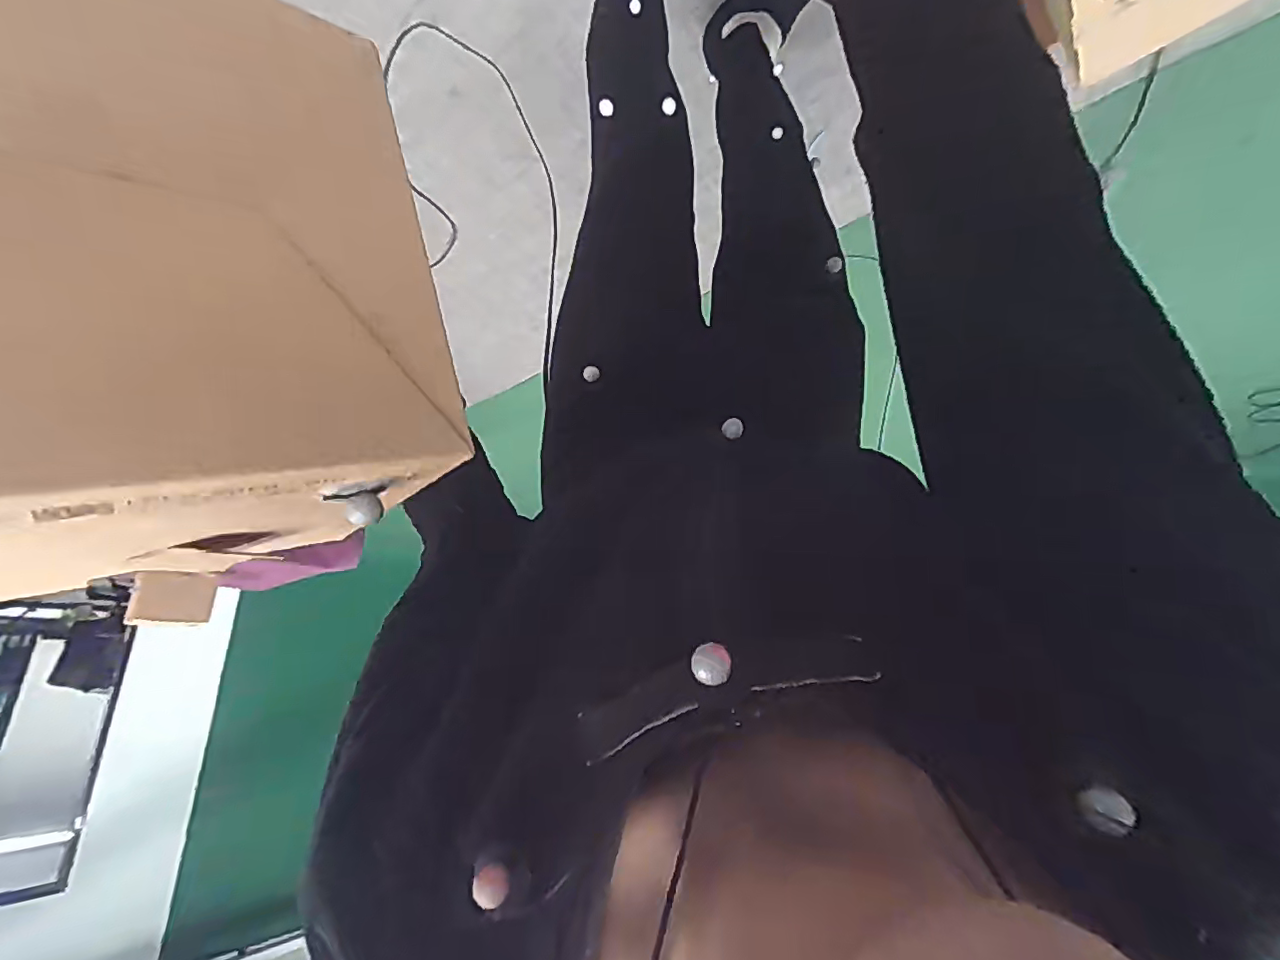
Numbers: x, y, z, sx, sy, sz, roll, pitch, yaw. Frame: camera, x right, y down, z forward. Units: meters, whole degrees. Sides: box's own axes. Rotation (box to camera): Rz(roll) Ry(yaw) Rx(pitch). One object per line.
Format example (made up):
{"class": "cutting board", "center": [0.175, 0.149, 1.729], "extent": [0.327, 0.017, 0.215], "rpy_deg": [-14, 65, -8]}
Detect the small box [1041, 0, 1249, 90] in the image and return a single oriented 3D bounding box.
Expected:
{"class": "small box", "center": [0.553, -0.598, 0.589], "extent": [0.179, 0.176, 0.168], "rpy_deg": [-16, 155, 39]}

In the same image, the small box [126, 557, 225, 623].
{"class": "small box", "center": [-1.390, 0.329, 1.621], "extent": [0.168, 0.176, 0.179], "rpy_deg": [-17, 155, 38]}
